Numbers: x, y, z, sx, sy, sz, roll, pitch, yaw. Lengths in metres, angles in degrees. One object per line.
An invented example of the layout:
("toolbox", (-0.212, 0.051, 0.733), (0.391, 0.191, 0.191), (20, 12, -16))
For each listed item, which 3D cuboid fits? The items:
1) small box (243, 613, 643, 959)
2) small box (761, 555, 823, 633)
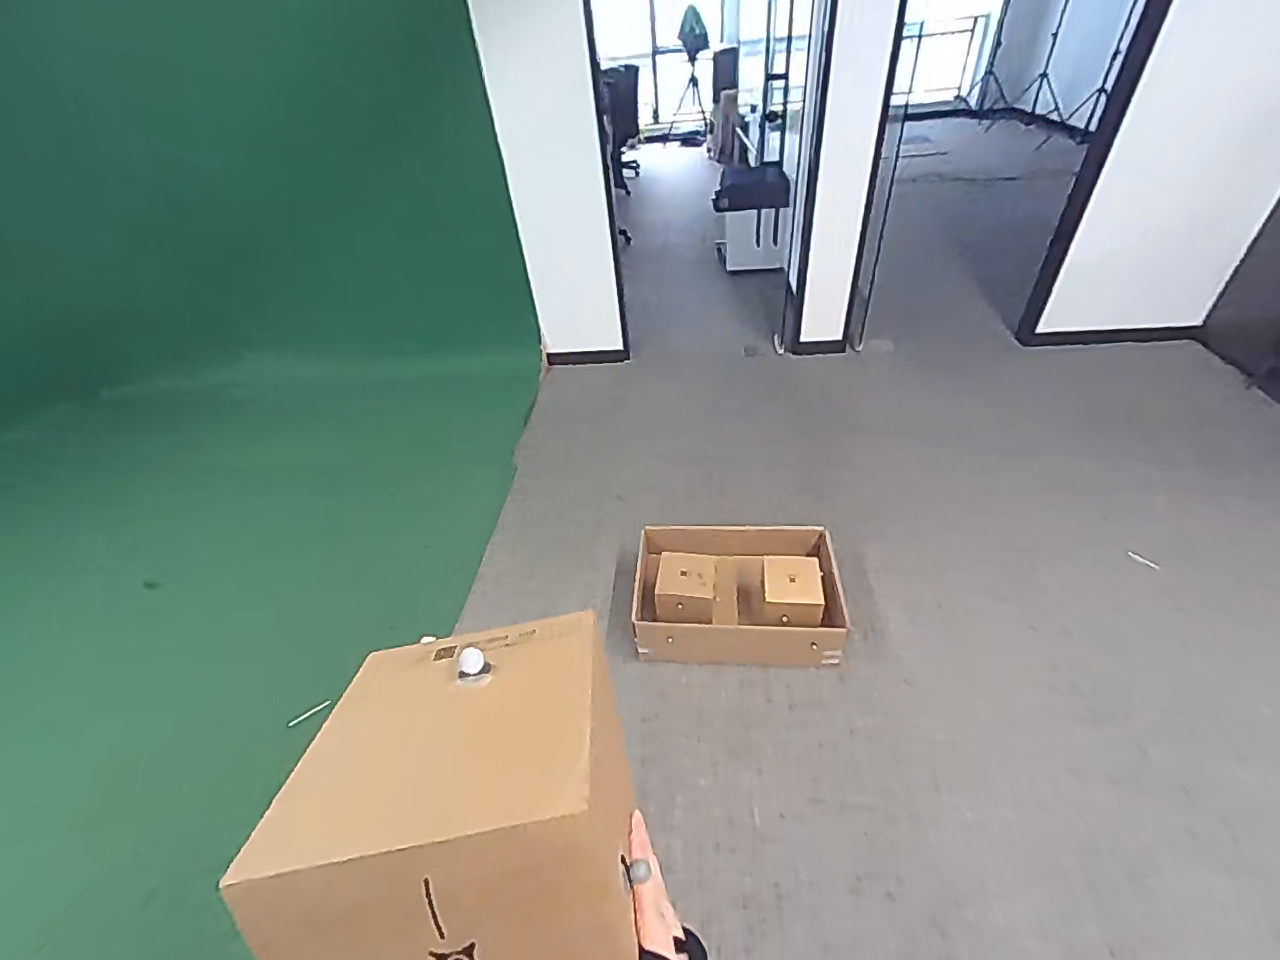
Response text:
("small box", (-0.091, 0.213, 0.346), (0.168, 0.179, 0.176), (-10, 17, -1))
("small box", (0.459, 0.350, 1.653), (0.168, 0.176, 0.179), (1, 41, 9))
